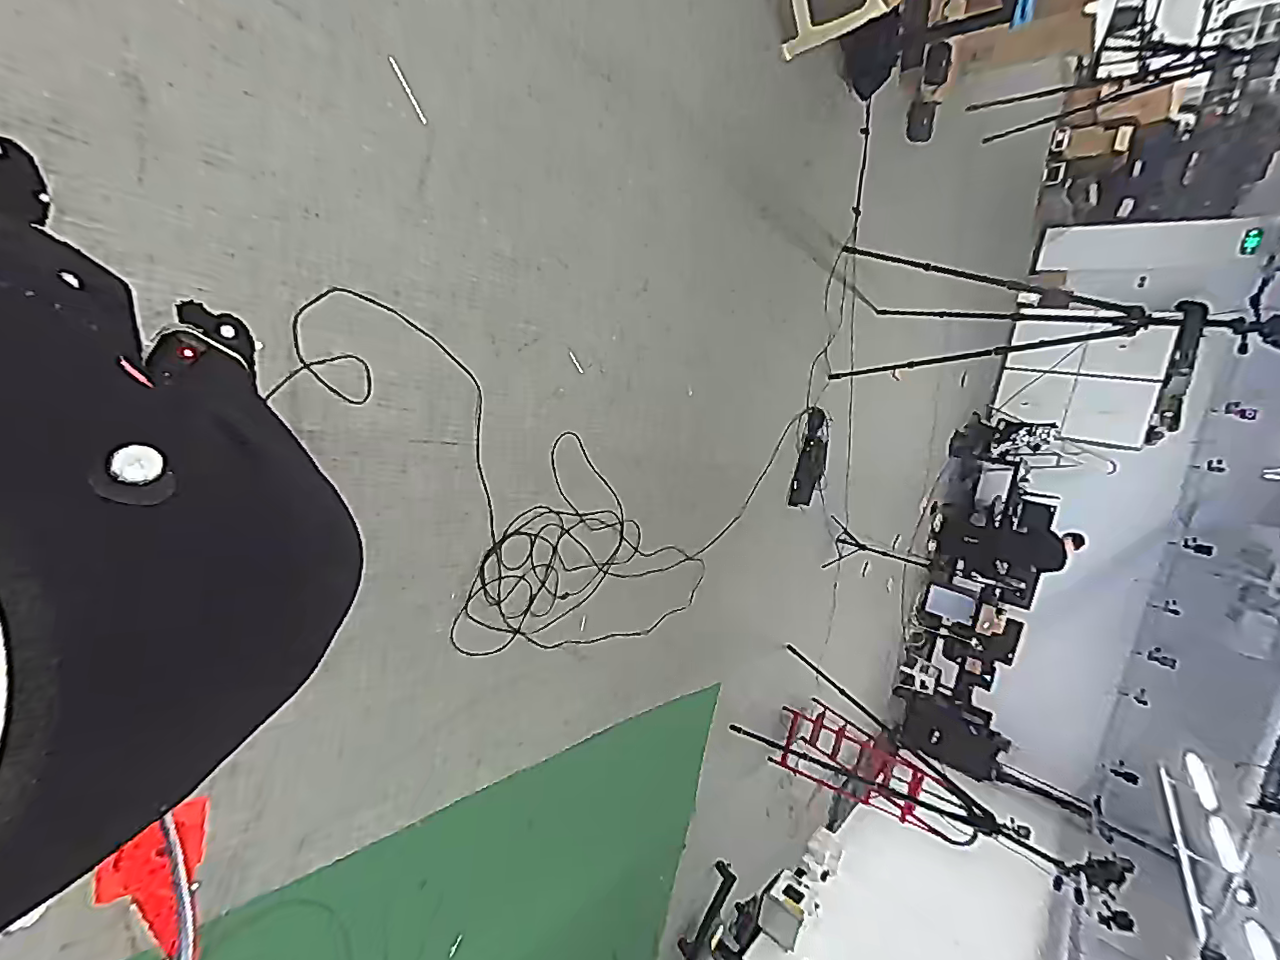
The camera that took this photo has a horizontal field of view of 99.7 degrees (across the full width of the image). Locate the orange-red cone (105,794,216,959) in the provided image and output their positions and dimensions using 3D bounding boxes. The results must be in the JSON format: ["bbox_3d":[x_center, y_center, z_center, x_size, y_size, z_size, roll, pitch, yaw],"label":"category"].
[{"bbox_3d":[-1.033,0.921,1.210,0.198,0.360,0.199,2,101,-51],"label":"orange-red cone"}]
